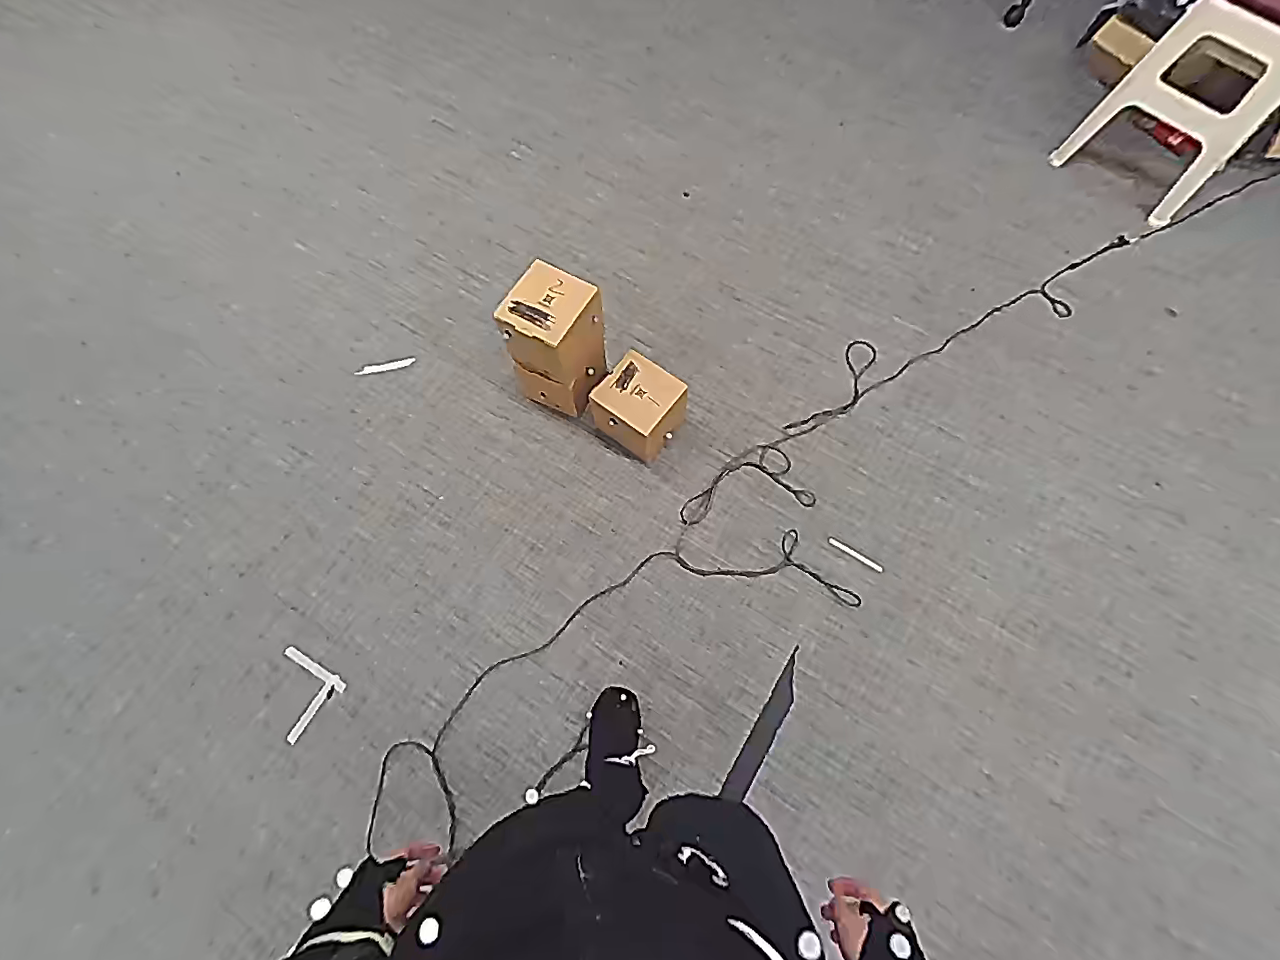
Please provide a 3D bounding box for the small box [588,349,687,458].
[{"bbox_3d":[-0.005,-0.182,1.341,0.179,0.176,0.168,36,75,13],"label":"small box"}]

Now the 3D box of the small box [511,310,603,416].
[{"bbox_3d":[-0.203,-0.296,1.390,0.168,0.176,0.179,23,73,10],"label":"small box"}]
